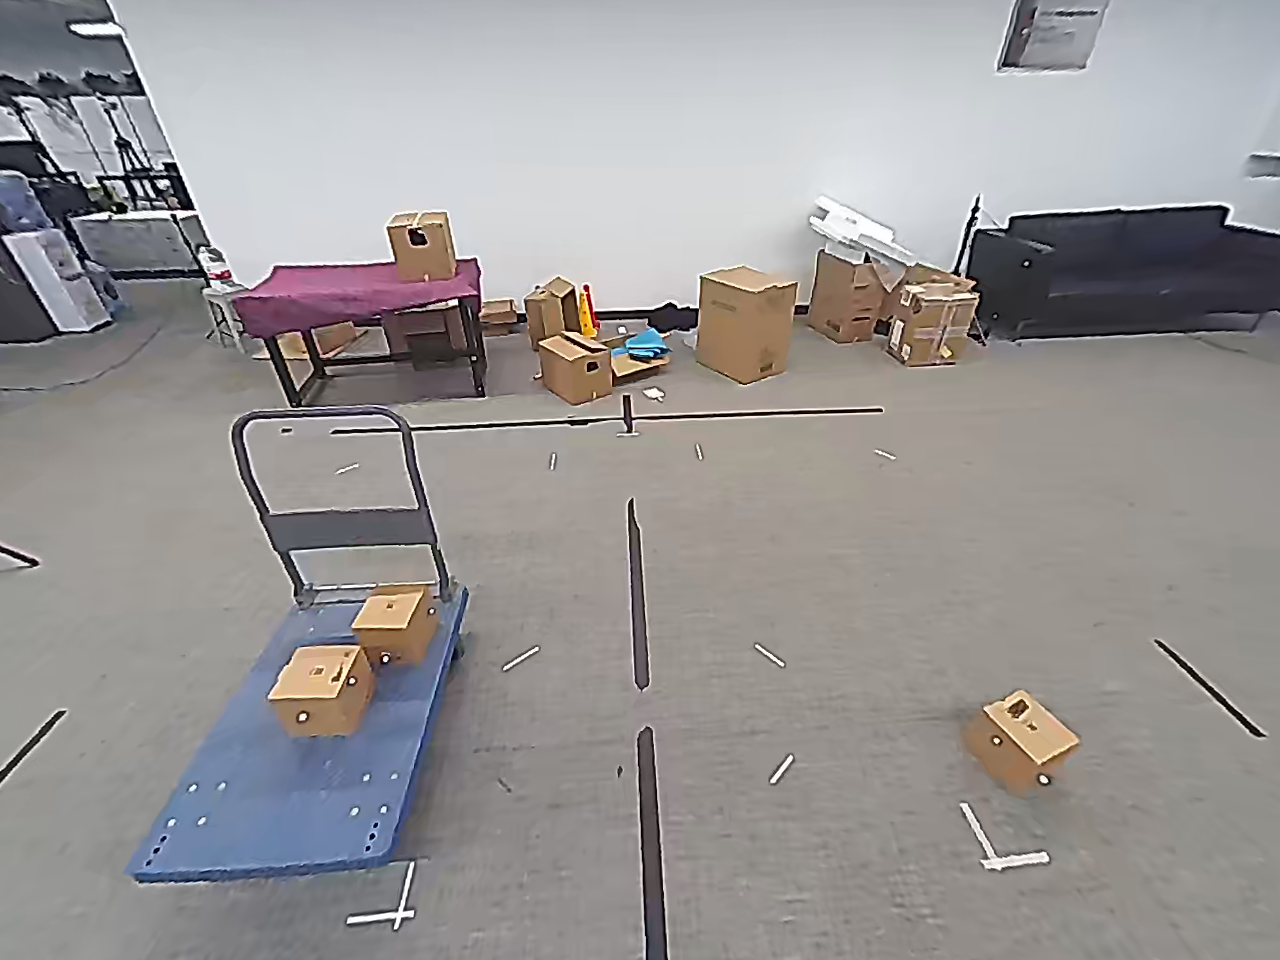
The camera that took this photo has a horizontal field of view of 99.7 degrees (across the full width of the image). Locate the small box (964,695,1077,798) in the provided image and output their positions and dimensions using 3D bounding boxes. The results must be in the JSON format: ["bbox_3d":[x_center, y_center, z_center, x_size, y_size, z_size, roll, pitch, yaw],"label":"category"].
[{"bbox_3d":[1.065,0.754,1.530,0.168,0.176,0.179,-13,36,-18],"label":"small box"}]

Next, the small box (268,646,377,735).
[{"bbox_3d":[-0.855,0.576,1.475,0.179,0.176,0.168,-2,35,0],"label":"small box"}]

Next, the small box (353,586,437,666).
[{"bbox_3d":[-0.743,0.448,1.667,0.168,0.176,0.179,-1,35,3],"label":"small box"}]
